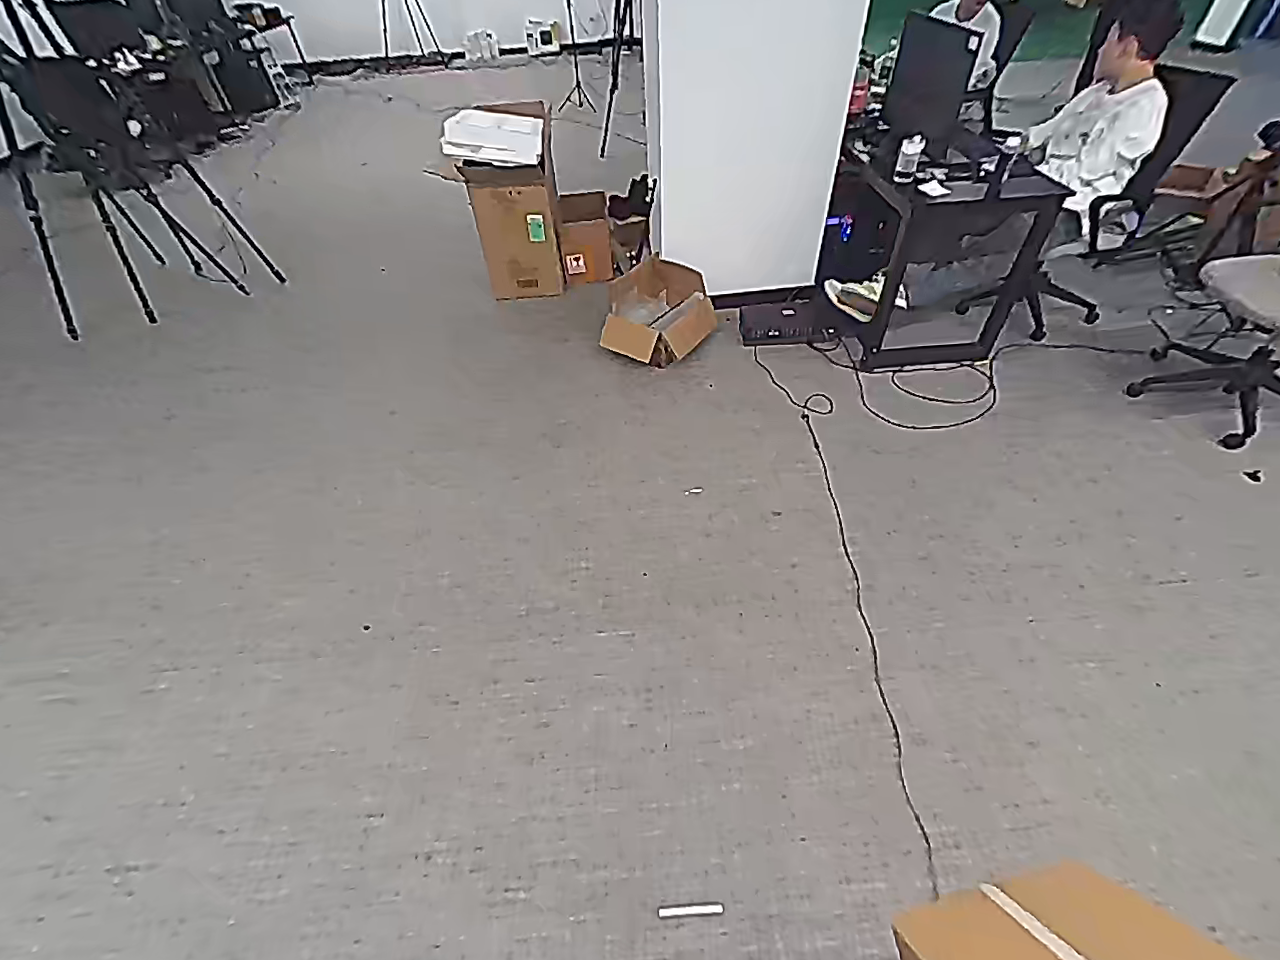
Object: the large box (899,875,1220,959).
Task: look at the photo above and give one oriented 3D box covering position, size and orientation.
[{"bbox_3d":[0.566,0.736,0.586,0.320,0.408,0.320,-12,81,-6],"label":"large box"}]
